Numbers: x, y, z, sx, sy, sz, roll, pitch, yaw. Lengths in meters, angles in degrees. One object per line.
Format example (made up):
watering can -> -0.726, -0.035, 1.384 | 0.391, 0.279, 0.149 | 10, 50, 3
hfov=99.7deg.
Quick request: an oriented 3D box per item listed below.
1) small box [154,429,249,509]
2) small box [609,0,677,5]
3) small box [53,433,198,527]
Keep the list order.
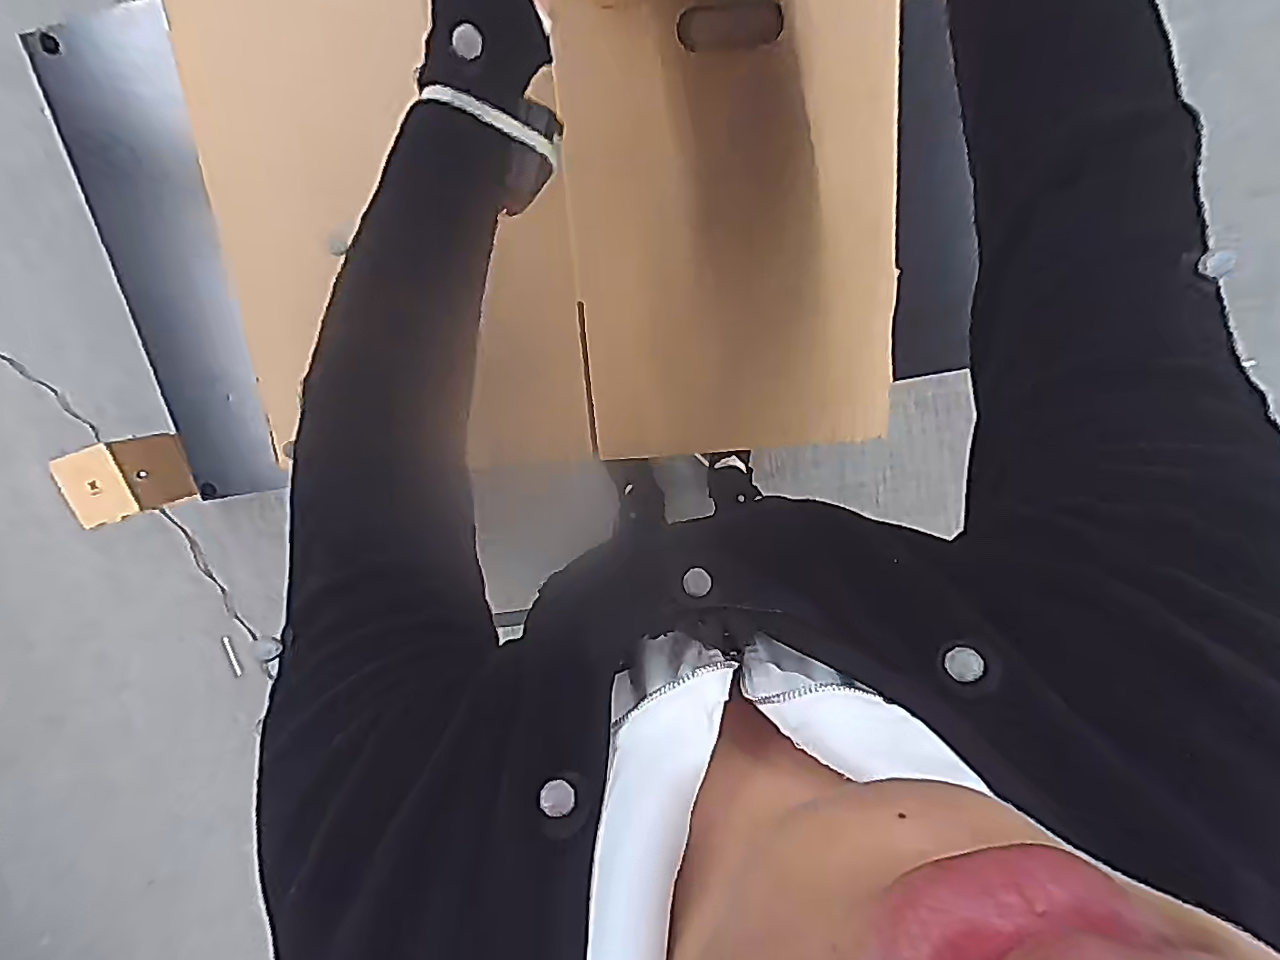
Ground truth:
small box -> -1.249, -0.040, 1.505 | 0.168, 0.176, 0.179 | -13, 103, 8
small box -> 0.035, -0.470, 0.356 | 0.168, 0.176, 0.179 | -3, 102, 2
small box -> -1.265, -0.006, 1.346 | 0.168, 0.176, 0.179 | -17, 101, 8
